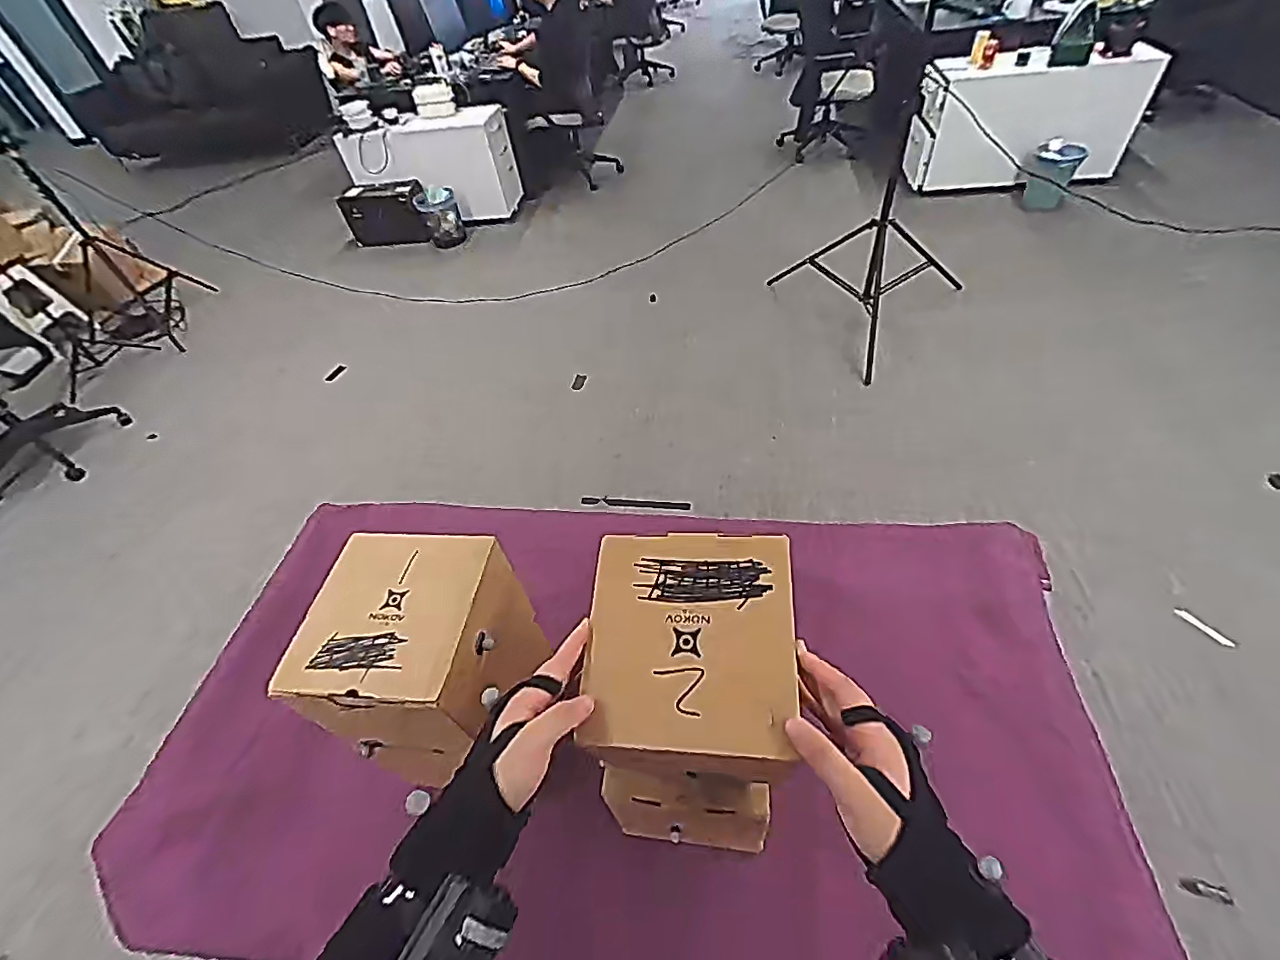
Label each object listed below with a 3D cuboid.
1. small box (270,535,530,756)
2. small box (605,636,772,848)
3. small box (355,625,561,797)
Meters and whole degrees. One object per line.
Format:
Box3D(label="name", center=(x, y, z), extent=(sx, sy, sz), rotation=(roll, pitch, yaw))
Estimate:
Box3D(label="small box", center=(-0.230, 0.178, 0.577), extent=(0.168, 0.176, 0.179), rotation=(0, 48, 8))
Box3D(label="small box", center=(0.064, 0.307, 0.638), extent=(0.168, 0.176, 0.179), rotation=(1, 48, 10))
Box3D(label="small box", center=(-0.212, 0.292, 0.694), extent=(0.179, 0.176, 0.168), rotation=(1, 48, 10))
